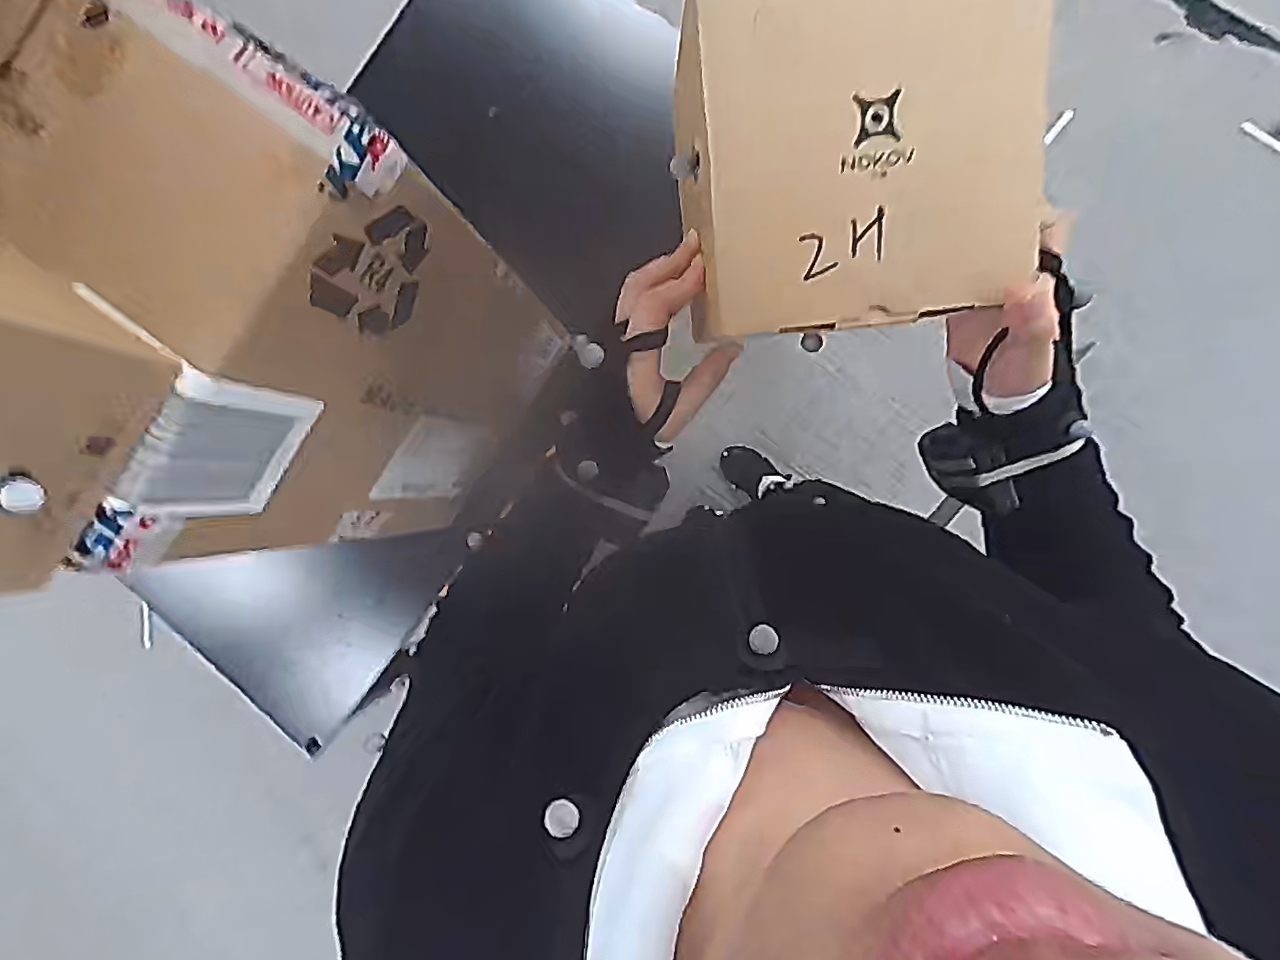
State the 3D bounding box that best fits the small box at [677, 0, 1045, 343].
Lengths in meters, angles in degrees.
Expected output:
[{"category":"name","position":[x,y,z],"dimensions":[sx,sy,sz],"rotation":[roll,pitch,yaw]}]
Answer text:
[{"category":"small box","position":[0.114,-0.186,0.347],"dimensions":[0.168,0.176,0.179],"rotation":[-5,103,2]}]
